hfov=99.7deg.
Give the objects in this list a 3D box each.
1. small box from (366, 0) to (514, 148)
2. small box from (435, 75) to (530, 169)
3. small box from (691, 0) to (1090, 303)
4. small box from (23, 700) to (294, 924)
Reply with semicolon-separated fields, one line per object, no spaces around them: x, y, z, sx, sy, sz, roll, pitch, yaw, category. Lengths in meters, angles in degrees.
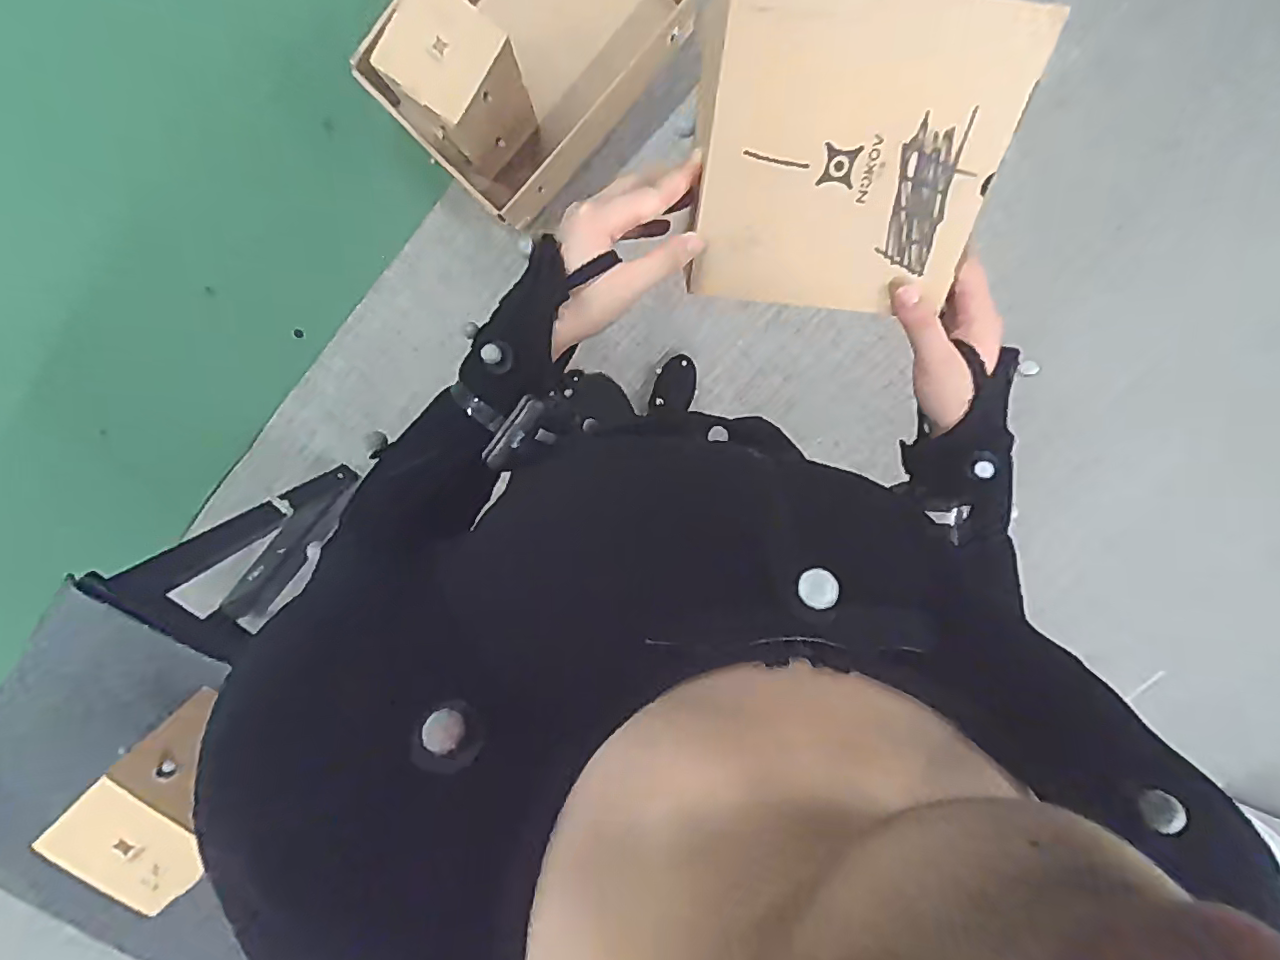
-0.342;-0.739;0.963;0.168;0.176;0.179;34;99;-13;small box
-0.348;-0.787;1.120;0.179;0.176;0.168;-44;104;9;small box
0.137;-0.240;0.380;0.179;0.176;0.168;5;126;-2;small box
-0.630;0.433;0.734;0.168;0.176;0.179;-41;105;11;small box
